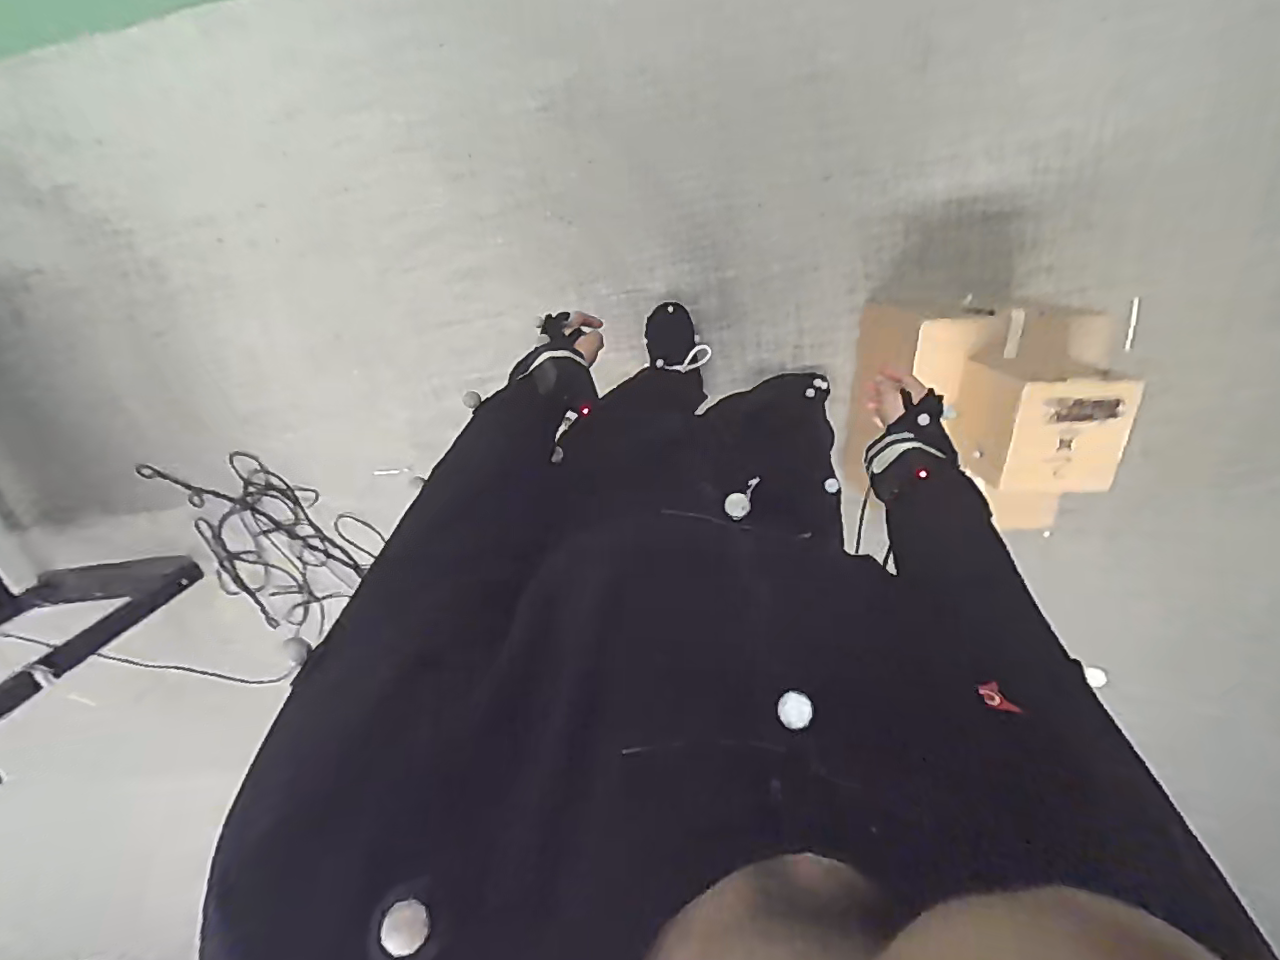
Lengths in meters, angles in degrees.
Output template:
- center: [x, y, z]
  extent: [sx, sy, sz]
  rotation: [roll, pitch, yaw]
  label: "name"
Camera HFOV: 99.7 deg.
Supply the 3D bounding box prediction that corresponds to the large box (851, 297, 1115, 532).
- center: [0.646, -0.144, 1.104]
  extent: [0.320, 0.320, 0.408]
  rotation: [0, 114, 6]
  label: "large box"
